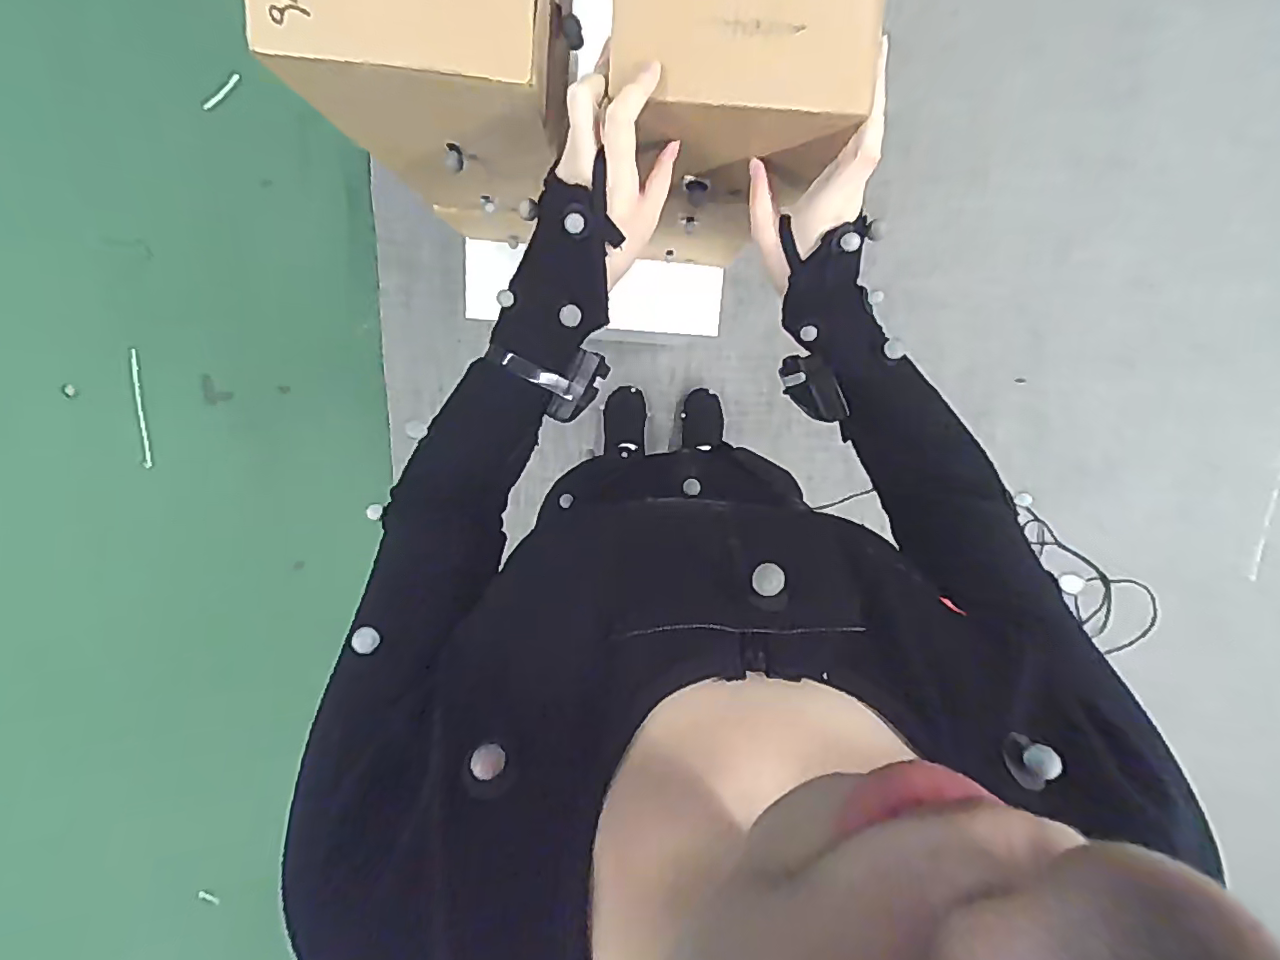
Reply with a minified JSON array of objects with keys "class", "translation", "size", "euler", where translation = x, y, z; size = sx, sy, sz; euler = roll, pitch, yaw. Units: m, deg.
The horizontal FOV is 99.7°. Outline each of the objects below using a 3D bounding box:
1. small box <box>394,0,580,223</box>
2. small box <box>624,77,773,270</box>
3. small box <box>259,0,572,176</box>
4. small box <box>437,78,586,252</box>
[{"class":"small box","translation":[-0.154,-0.389,0.562],"size":[0.168,0.176,0.179],"euler":[5,102,-2]},{"class":"small box","translation":[0.068,-0.397,0.731],"size":[0.168,0.176,0.179],"euler":[6,102,-1]},{"class":"small box","translation":[-0.146,-0.347,0.404],"size":[0.179,0.176,0.168],"euler":[5,102,-3]},{"class":"small box","translation":[-0.162,-0.420,0.723],"size":[0.168,0.176,0.179],"euler":[4,103,-2]}]
